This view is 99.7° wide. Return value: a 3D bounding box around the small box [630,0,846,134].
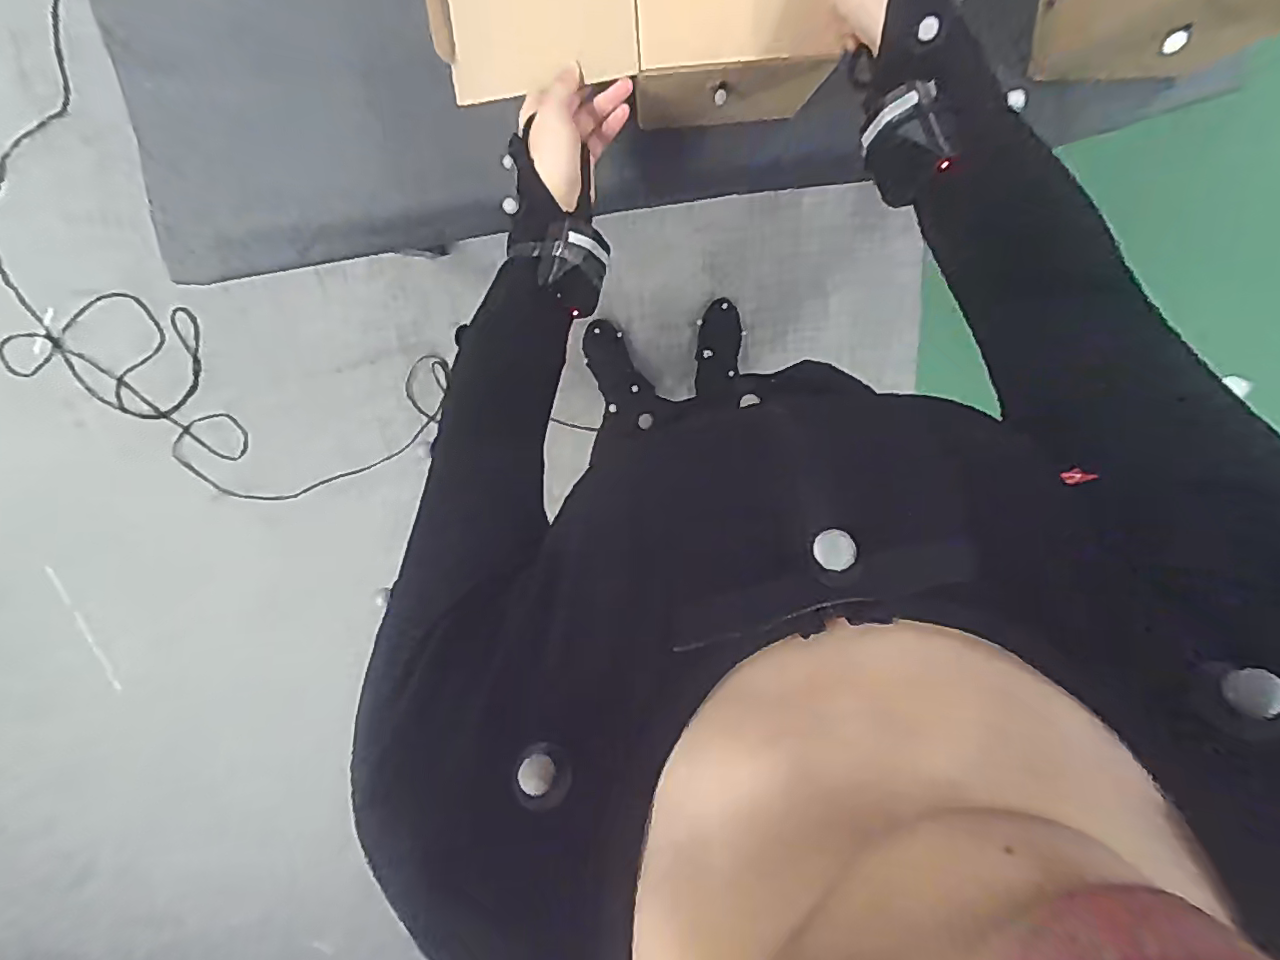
[{"bbox_3d":[0.079,-0.440,0.504,0.179,0.176,0.168,-4,110,1],"label":"small box"}]
